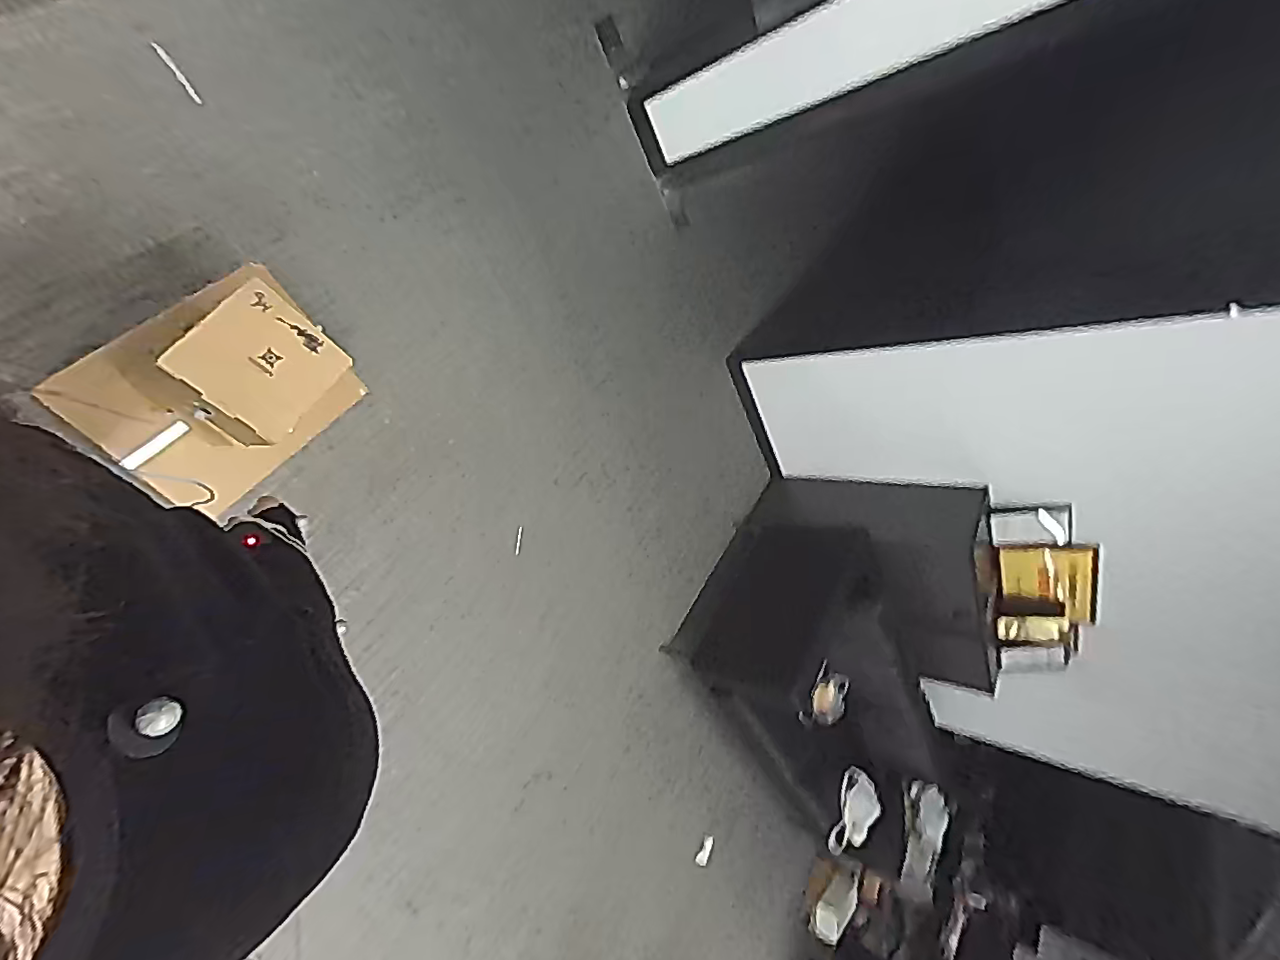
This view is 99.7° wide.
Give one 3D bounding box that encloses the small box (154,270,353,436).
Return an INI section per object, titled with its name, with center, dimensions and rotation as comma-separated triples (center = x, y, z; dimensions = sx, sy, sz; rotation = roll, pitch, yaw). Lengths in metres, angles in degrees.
[small box]
center = -0.585, -0.182, 0.818
dimensions = 0.168, 0.176, 0.179
rotation = 50, 59, -37
